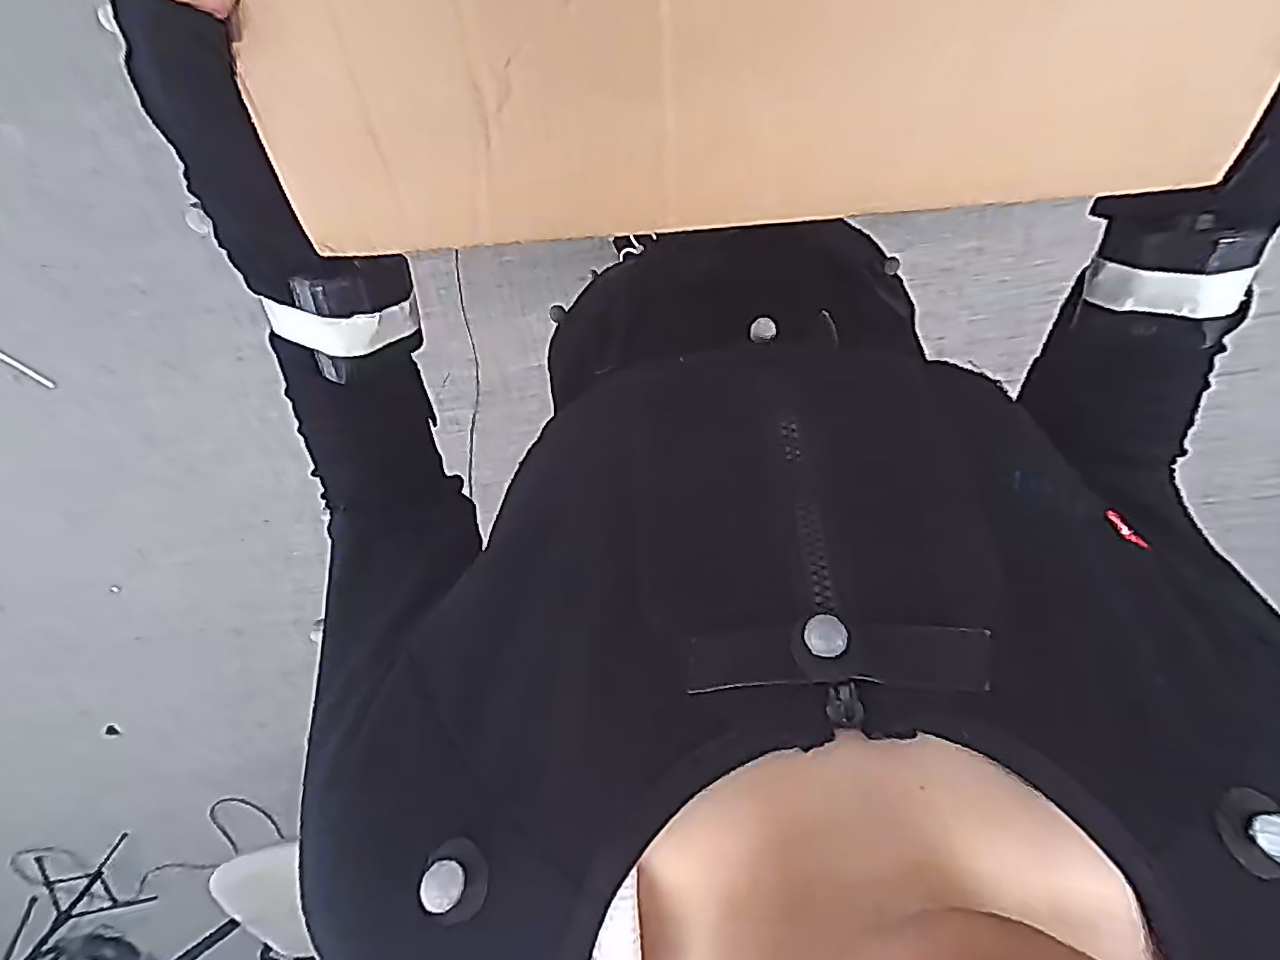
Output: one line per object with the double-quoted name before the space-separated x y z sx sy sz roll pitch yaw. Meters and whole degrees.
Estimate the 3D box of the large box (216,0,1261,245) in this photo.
"large box" 0.033 -0.342 0.259 0.408 0.320 0.320 -4 132 2
